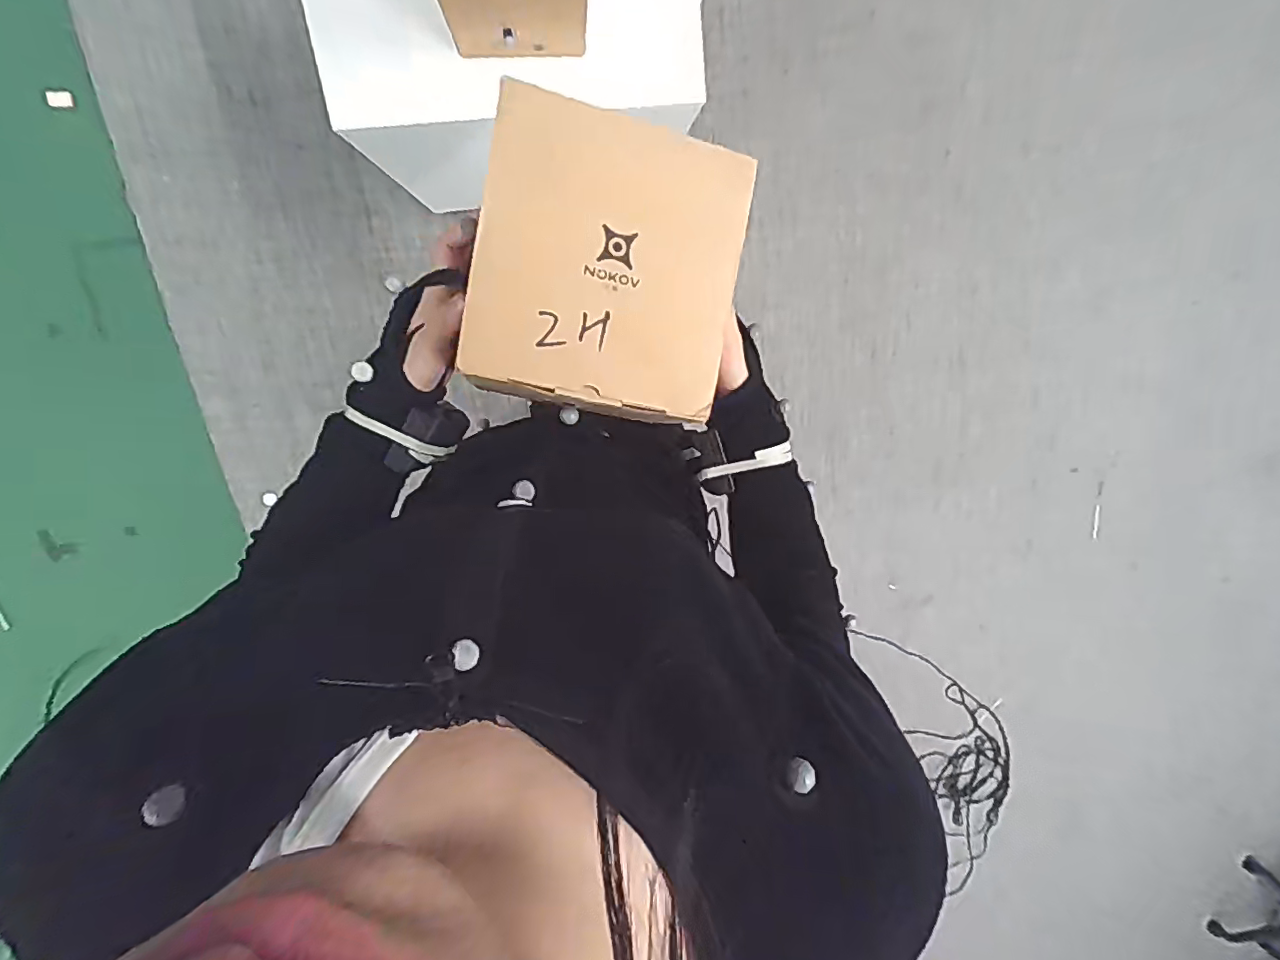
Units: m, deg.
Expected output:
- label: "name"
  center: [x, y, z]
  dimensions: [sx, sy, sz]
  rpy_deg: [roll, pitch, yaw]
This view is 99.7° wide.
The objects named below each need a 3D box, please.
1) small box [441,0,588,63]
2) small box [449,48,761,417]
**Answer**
- label: "small box"
  center: [-0.149, -0.614, 0.610]
  dimensions: [0.168, 0.176, 0.179]
  rpy_deg: [-5, 105, -6]
- label: "small box"
  center: [-0.034, -0.149, 0.399]
  dimensions: [0.168, 0.176, 0.179]
  rpy_deg: [10, 92, -13]
